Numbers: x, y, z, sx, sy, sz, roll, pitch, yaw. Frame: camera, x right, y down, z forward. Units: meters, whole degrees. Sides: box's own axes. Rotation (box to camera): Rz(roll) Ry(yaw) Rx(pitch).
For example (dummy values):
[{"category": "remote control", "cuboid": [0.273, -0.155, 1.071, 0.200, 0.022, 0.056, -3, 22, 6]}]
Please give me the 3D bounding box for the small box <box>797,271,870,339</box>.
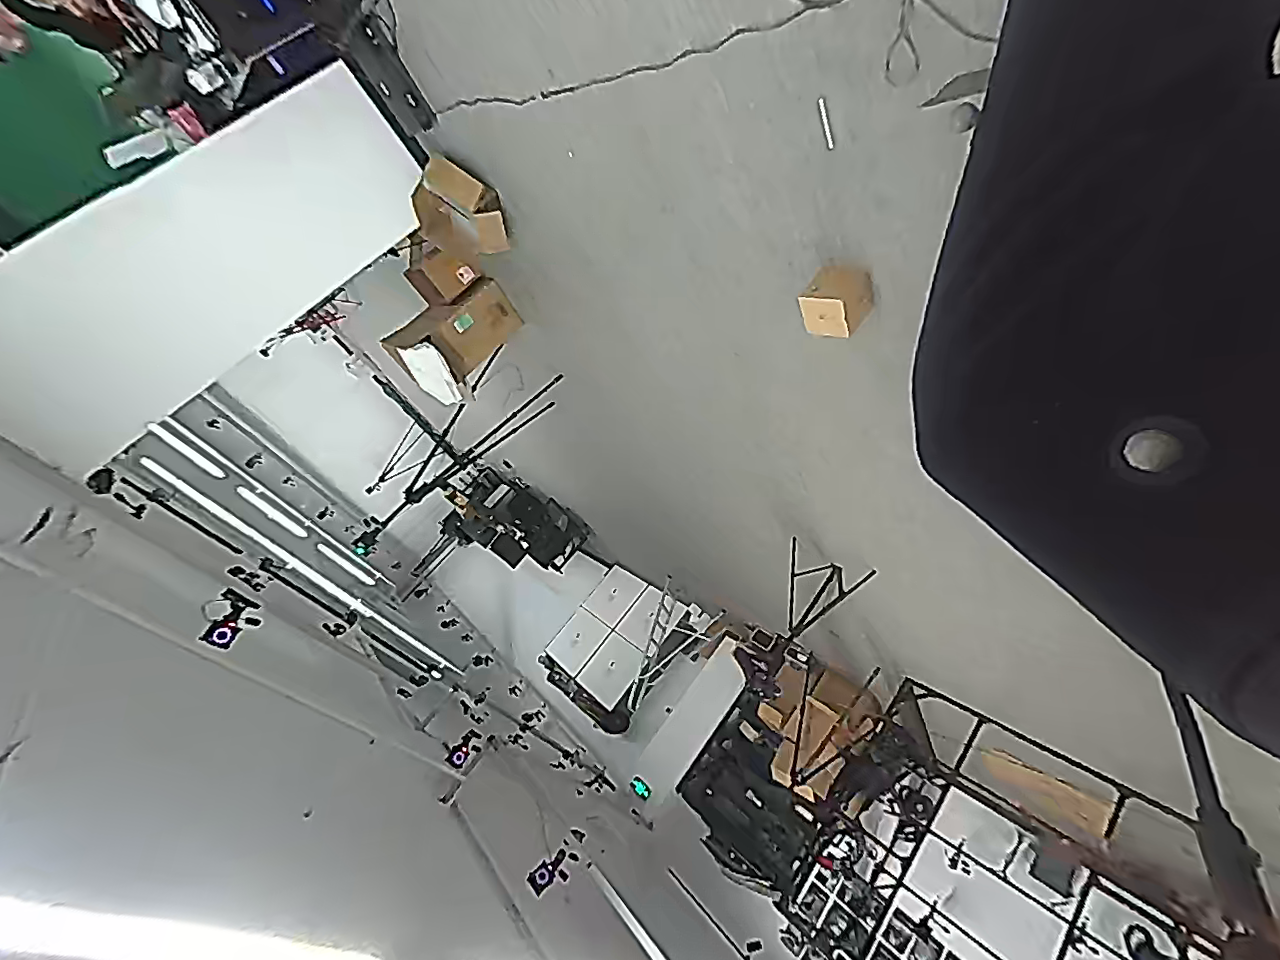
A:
[{"category": "small box", "cuboid": [0.700, -0.636, 1.948, 0.179, 0.176, 0.168, 23, 156, 43]}]
